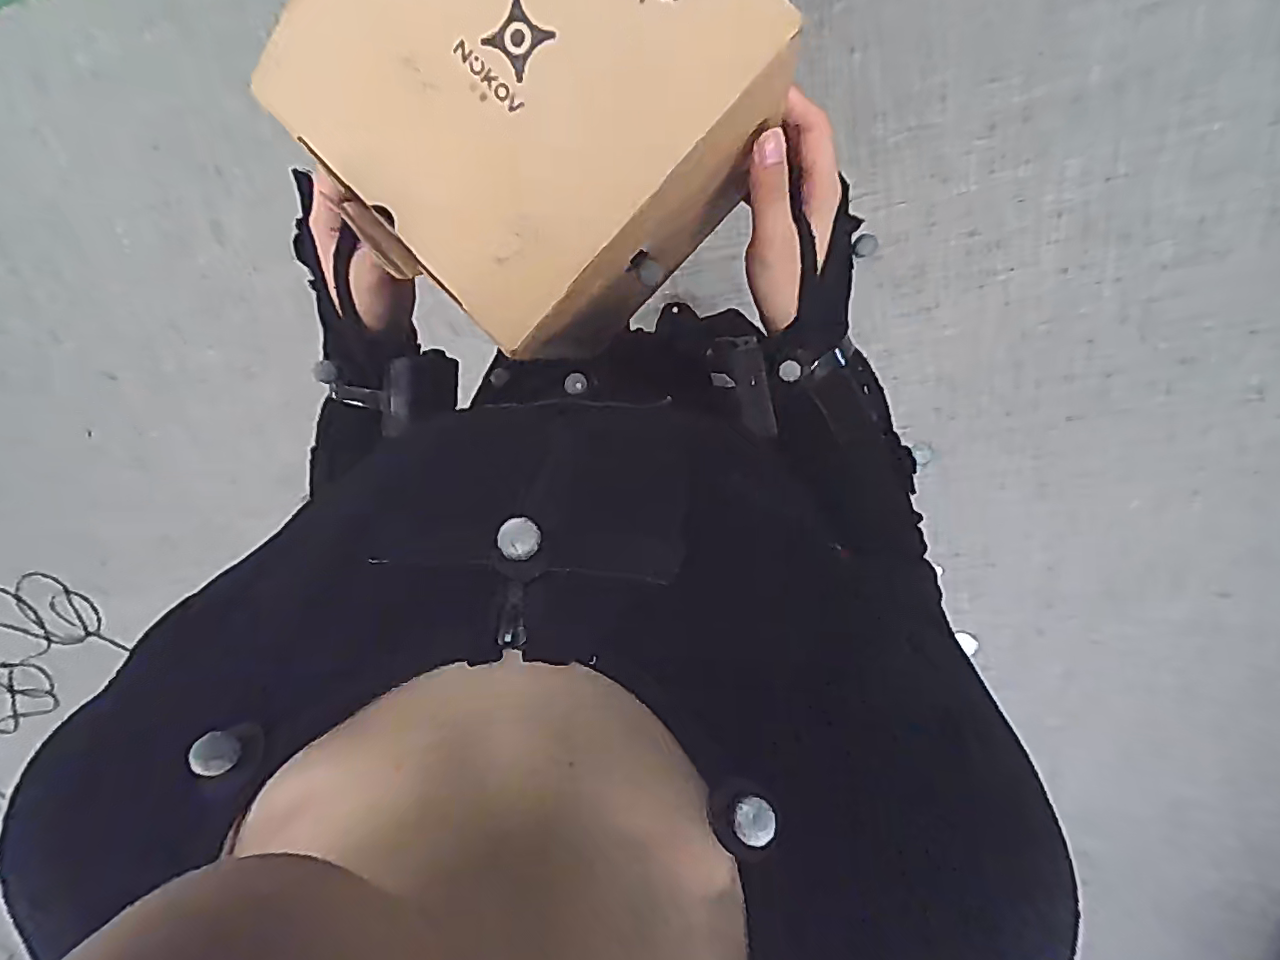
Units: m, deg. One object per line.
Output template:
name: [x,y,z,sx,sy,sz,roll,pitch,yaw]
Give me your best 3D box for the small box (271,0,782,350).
small box: [-0.043,-0.192,0.306,0.168,0.176,0.179,45,106,-3]
